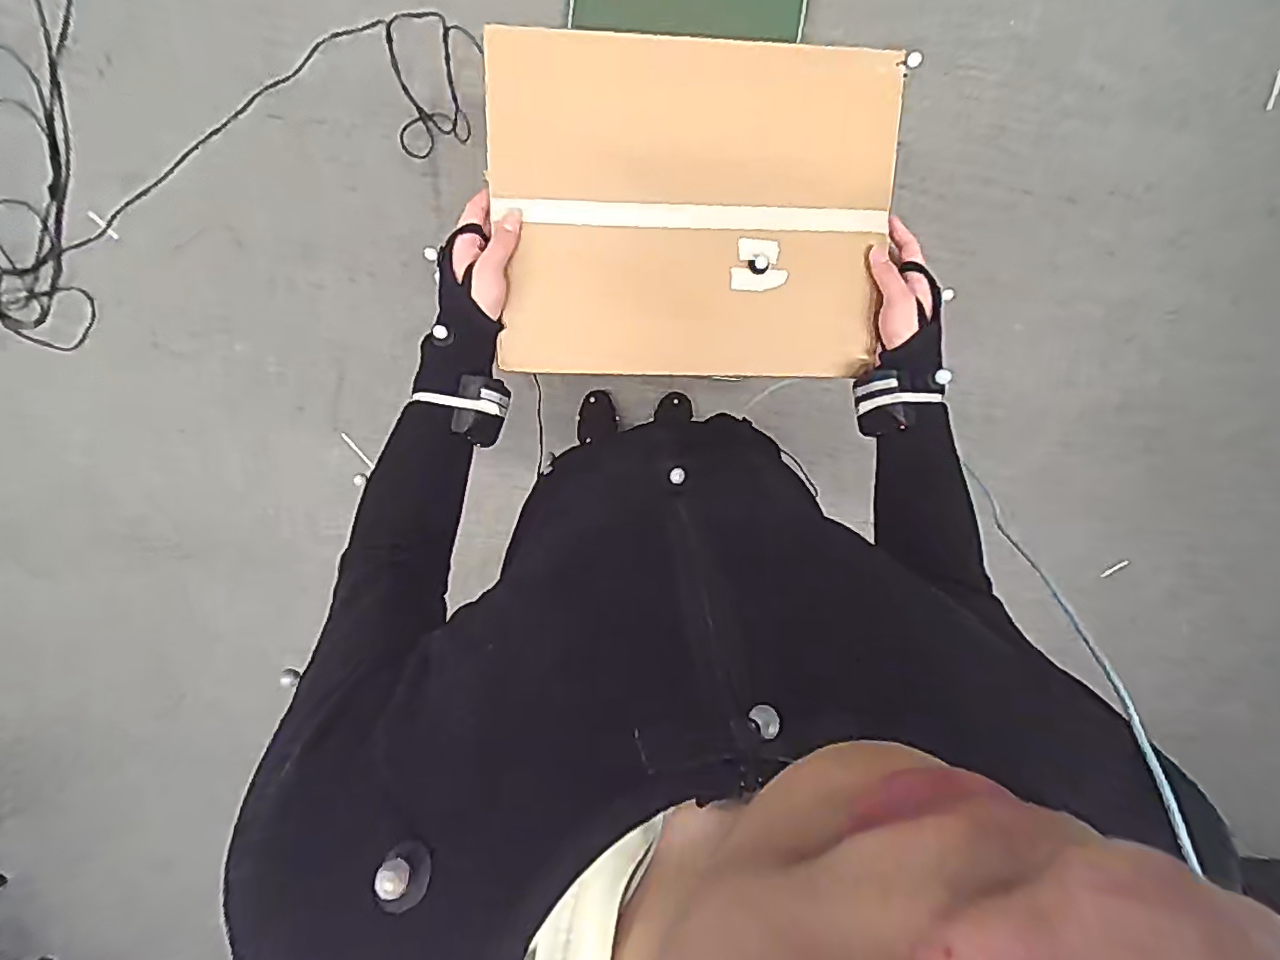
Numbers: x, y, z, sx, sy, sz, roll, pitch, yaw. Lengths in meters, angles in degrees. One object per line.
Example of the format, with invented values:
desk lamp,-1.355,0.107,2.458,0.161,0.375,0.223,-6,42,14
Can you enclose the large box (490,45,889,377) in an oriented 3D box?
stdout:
large box,0.041,-0.298,0.704,0.408,0.320,0.320,0,103,-5
